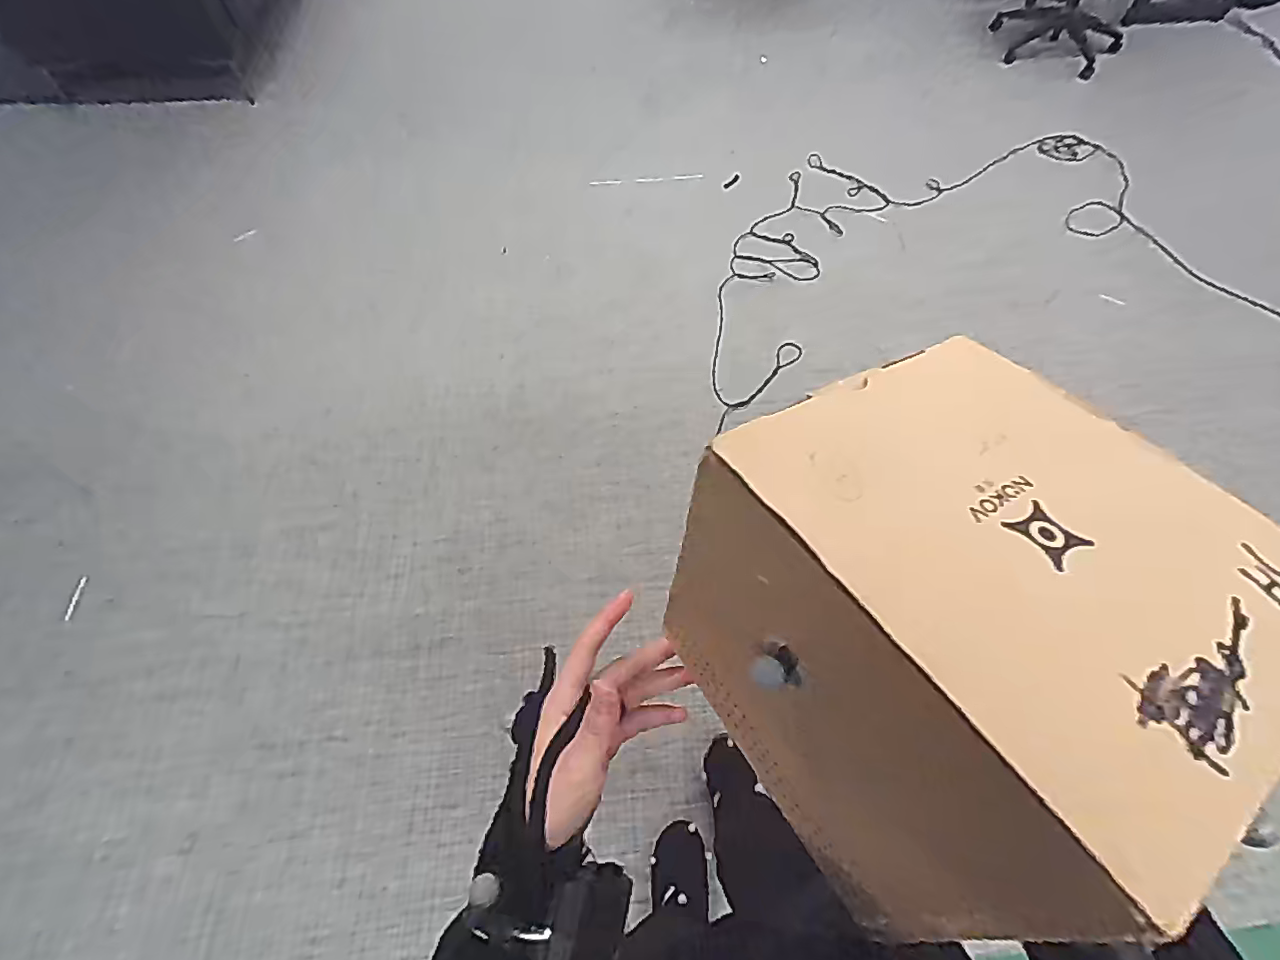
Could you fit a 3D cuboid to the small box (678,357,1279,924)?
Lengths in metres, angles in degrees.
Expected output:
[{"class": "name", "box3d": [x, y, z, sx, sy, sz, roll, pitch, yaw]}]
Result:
[{"class": "small box", "box3d": [0.135, 0.073, 0.265, 0.168, 0.176, 0.179, -24, 55, -23]}]
